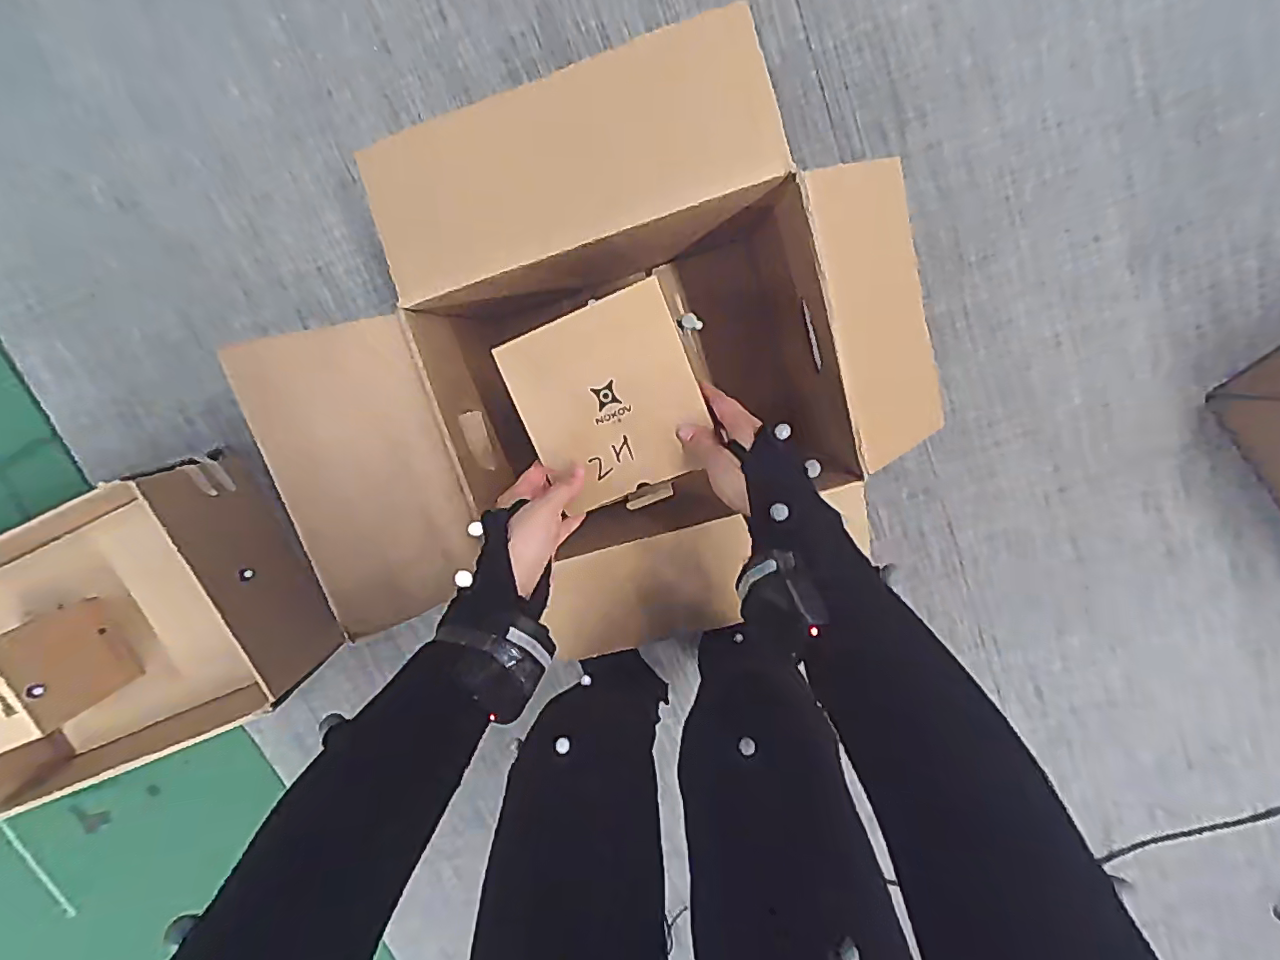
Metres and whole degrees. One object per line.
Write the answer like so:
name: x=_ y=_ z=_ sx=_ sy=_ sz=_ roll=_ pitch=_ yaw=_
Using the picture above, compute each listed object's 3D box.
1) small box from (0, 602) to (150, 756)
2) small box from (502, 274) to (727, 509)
small box: x=-0.993 y=0.331 z=0.900 sx=0.179 sy=0.176 sz=0.168 roll=-22 pitch=99 yaw=8
small box: x=-0.015 y=-0.093 z=0.579 sx=0.168 sy=0.176 sz=0.179 roll=-21 pitch=100 yaw=13
